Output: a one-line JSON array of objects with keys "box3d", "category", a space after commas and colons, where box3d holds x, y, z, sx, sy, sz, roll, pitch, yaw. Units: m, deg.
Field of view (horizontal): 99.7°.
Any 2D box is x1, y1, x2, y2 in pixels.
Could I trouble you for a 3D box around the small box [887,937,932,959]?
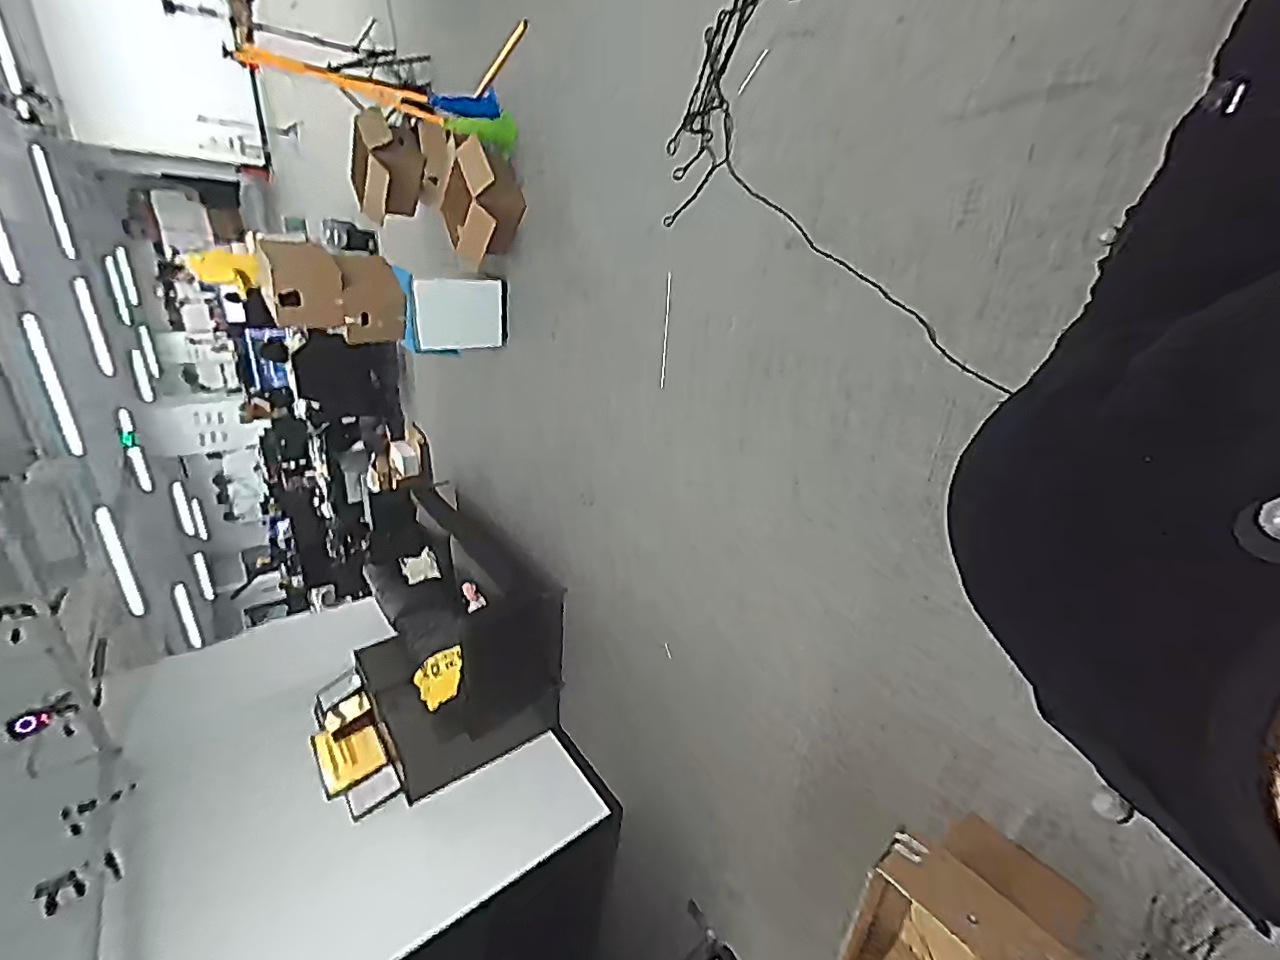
[{"box3d": [0.680, 1.303, 1.337, 0.168, 0.176, 0.179, 23, 117, 48], "category": "small box"}]
